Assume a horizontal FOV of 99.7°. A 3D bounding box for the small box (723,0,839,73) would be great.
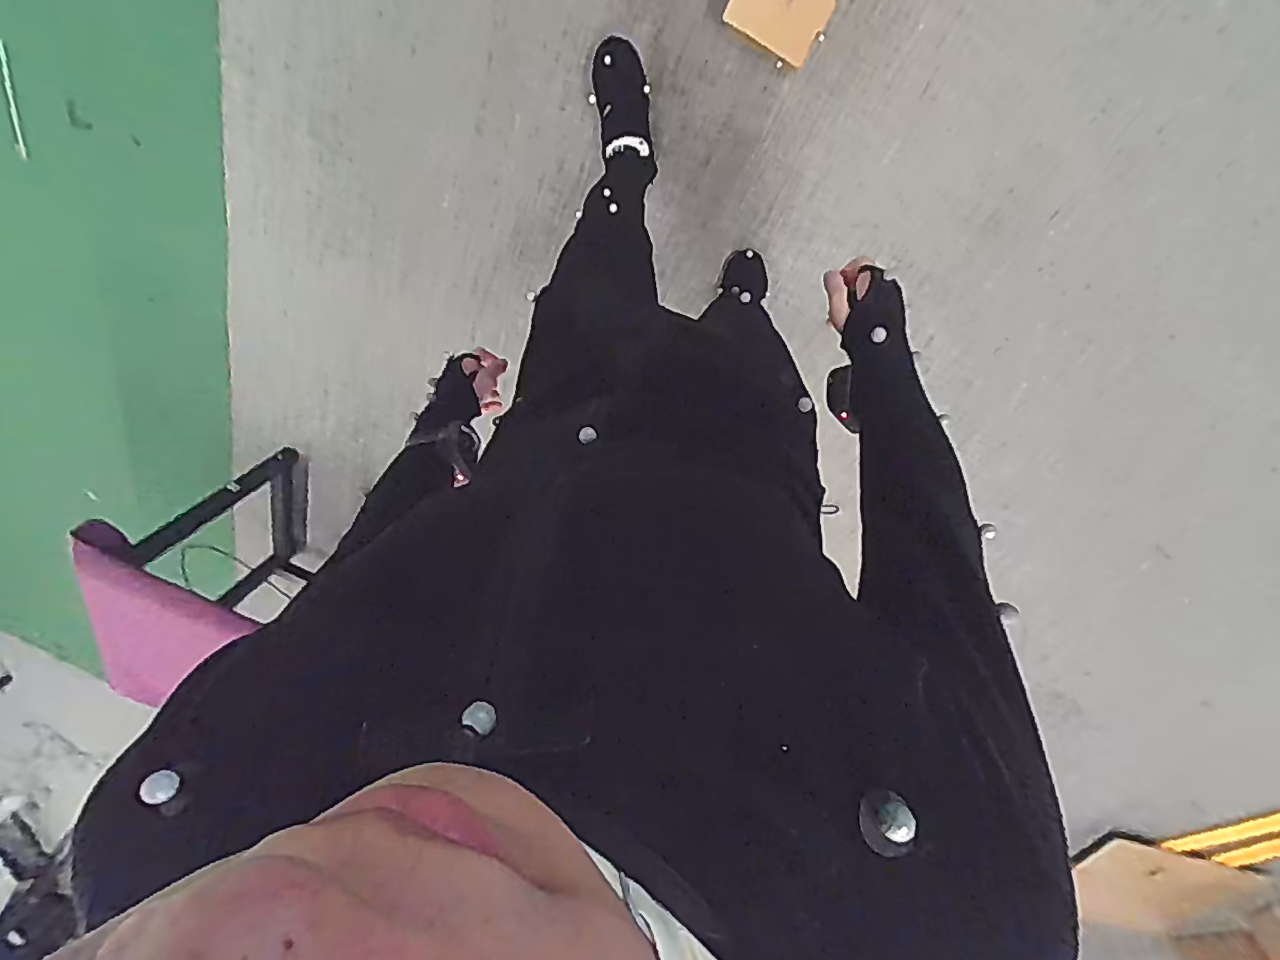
[{"bbox_3d":[0.280,-0.922,1.045,0.179,0.176,0.168,28,124,-5],"label":"small box"}]
